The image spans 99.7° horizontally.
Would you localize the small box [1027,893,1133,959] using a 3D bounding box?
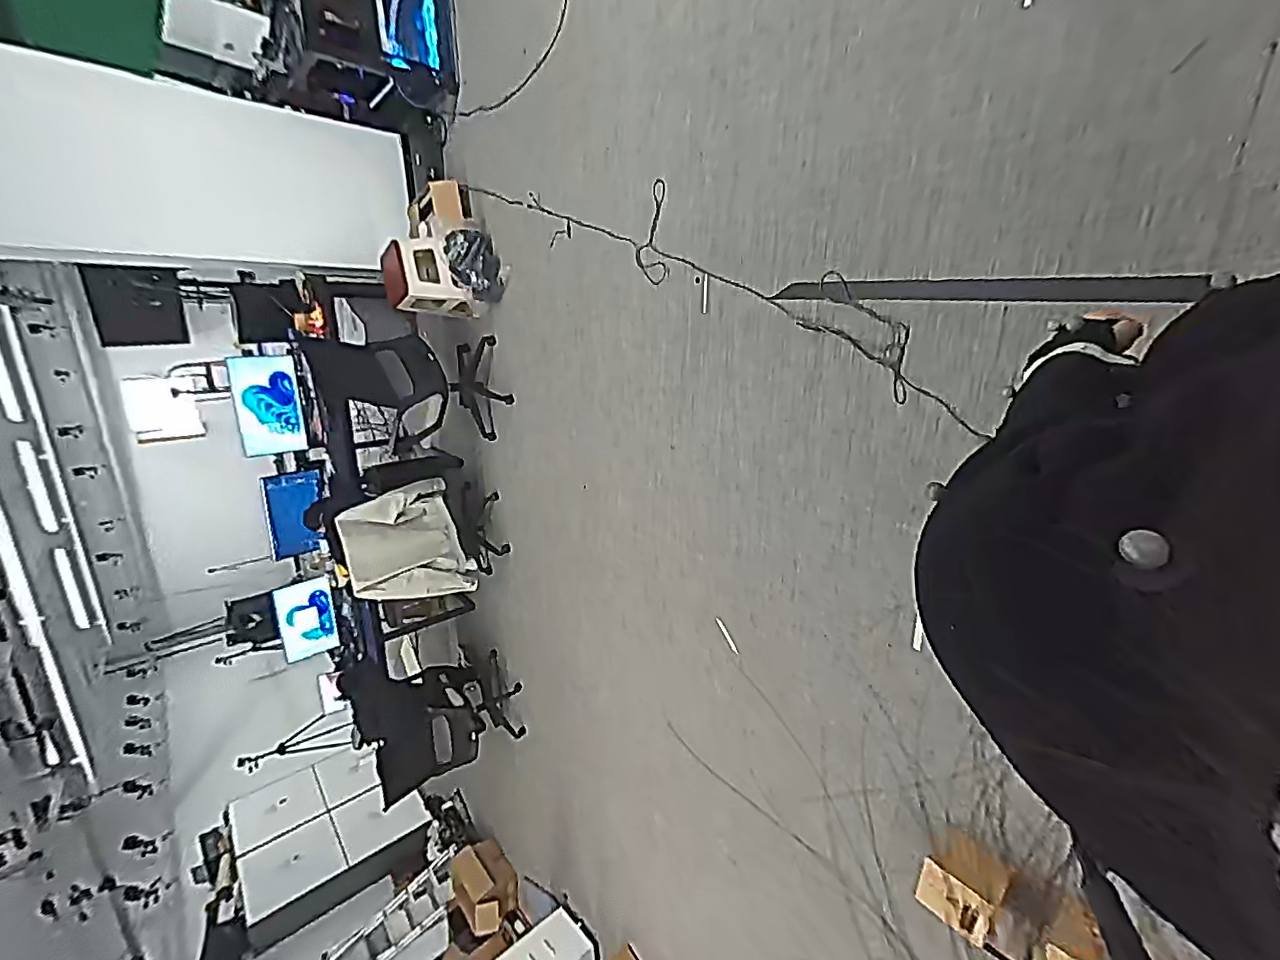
[{"bbox_3d":[1.085,1.195,1.341,0.168,0.176,0.179,22,117,44],"label":"small box"}]
